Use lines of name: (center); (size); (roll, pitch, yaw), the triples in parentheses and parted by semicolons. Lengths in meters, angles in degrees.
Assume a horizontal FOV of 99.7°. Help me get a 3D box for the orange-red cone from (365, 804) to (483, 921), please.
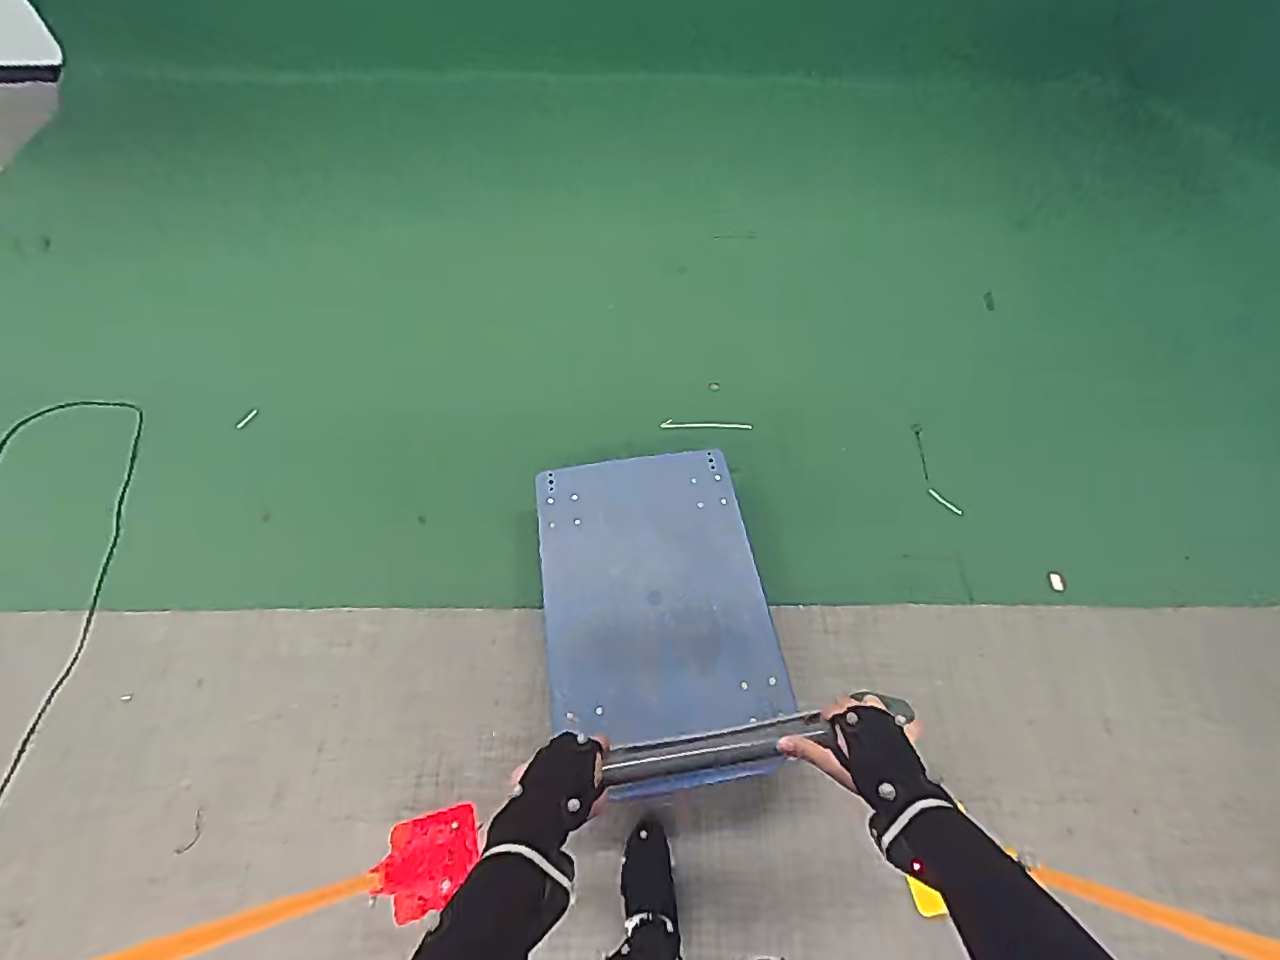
orange-red cone: (-0.471, 0.797, 1.107); (0.199, 0.360, 0.198); (-14, 60, -7)
